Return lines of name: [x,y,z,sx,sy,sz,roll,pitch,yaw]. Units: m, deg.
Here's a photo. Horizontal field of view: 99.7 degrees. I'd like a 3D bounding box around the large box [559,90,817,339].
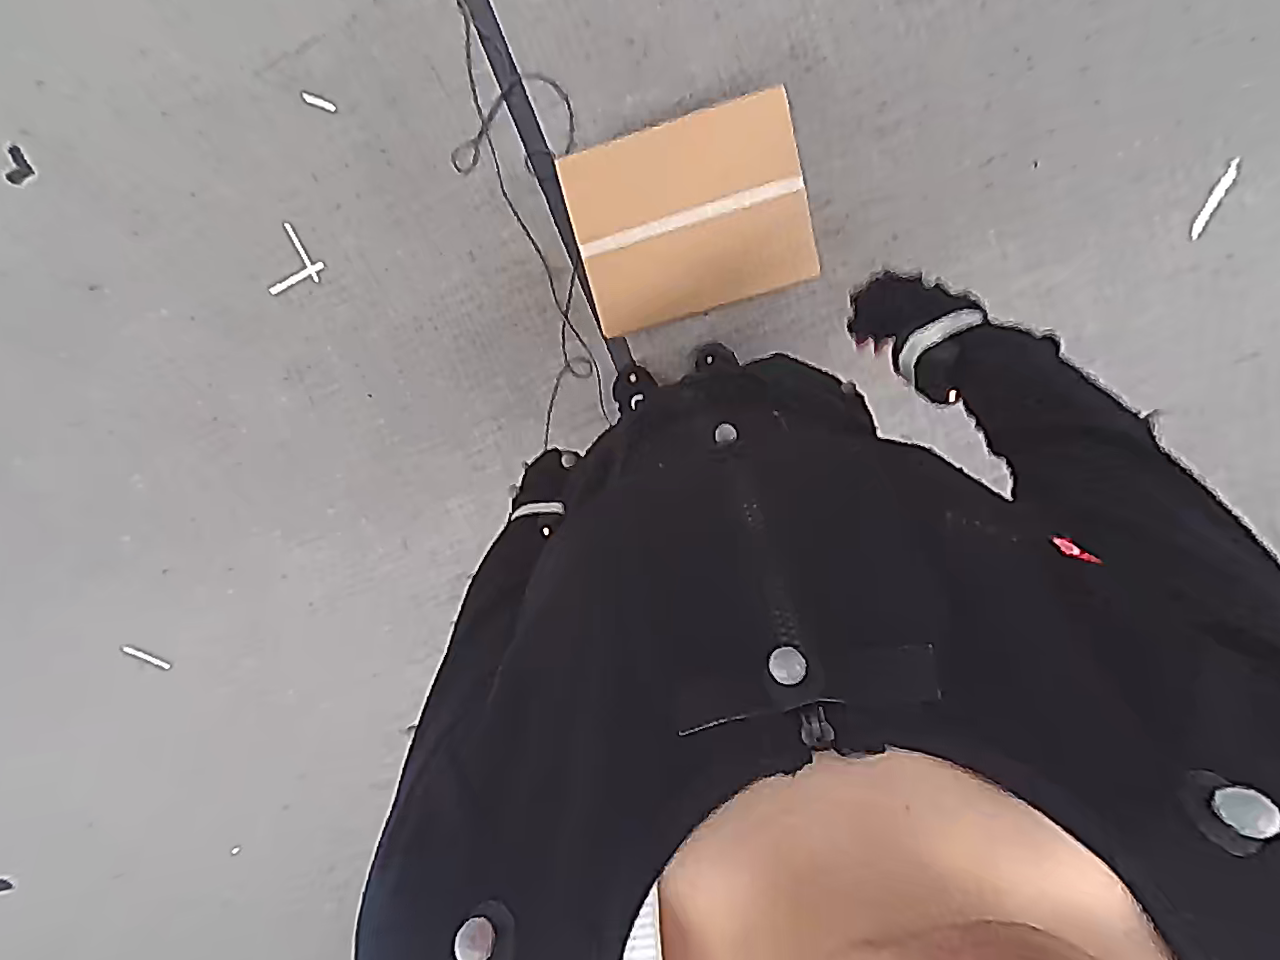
large box: [0.092,-0.495,1.101,0.408,0.320,0.320,-15,105,6]
